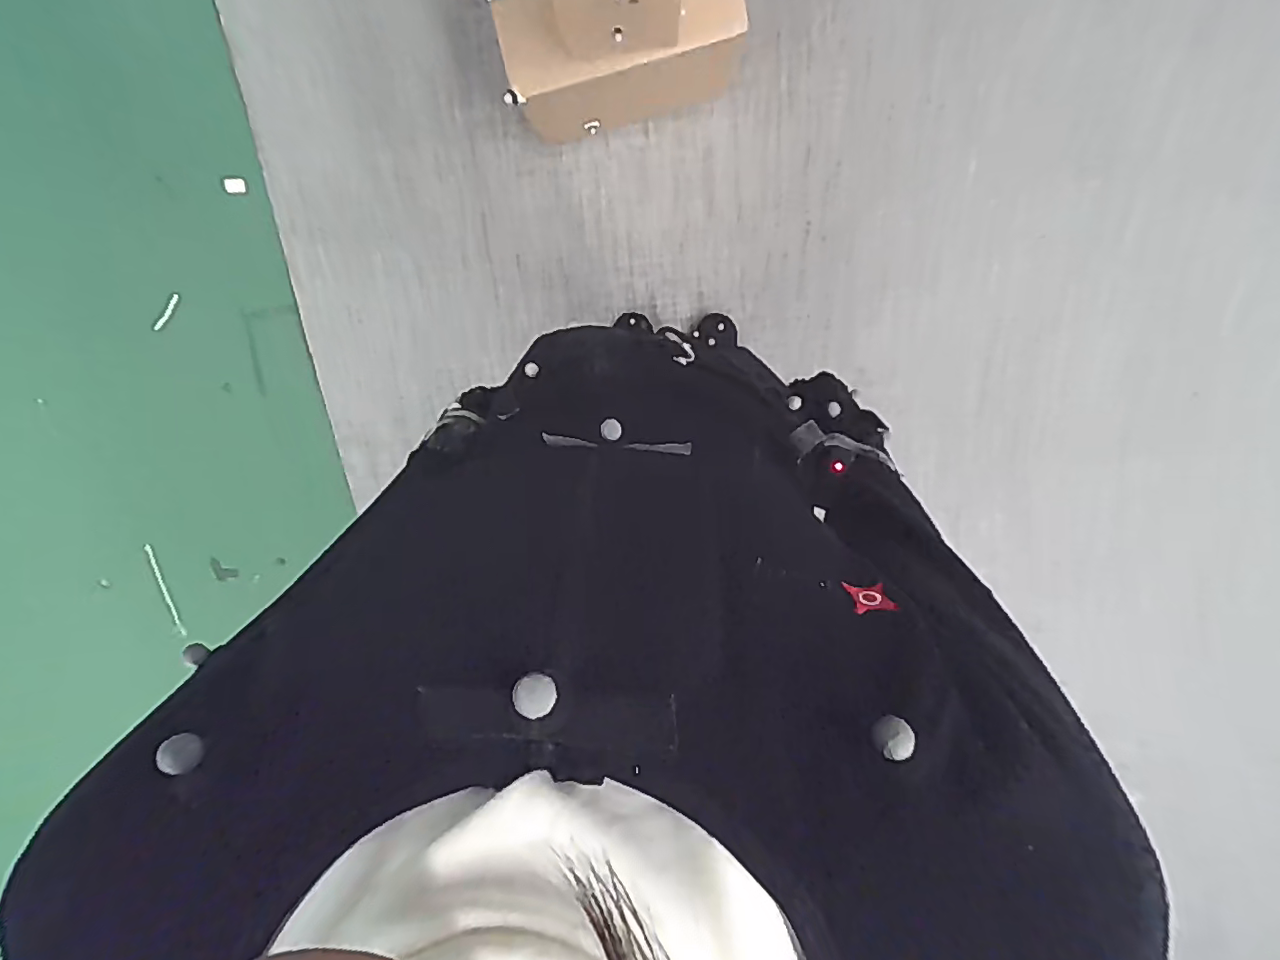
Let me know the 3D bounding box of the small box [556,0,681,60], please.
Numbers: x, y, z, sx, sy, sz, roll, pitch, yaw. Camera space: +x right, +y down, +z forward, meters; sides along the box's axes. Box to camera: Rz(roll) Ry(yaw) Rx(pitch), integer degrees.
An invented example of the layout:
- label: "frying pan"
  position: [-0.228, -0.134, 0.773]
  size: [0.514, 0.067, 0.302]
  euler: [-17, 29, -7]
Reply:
- label: "small box"
  position: [-0.035, -0.756, 0.795]
  size: [0.179, 0.176, 0.168]
  euler: [-6, 109, 5]
